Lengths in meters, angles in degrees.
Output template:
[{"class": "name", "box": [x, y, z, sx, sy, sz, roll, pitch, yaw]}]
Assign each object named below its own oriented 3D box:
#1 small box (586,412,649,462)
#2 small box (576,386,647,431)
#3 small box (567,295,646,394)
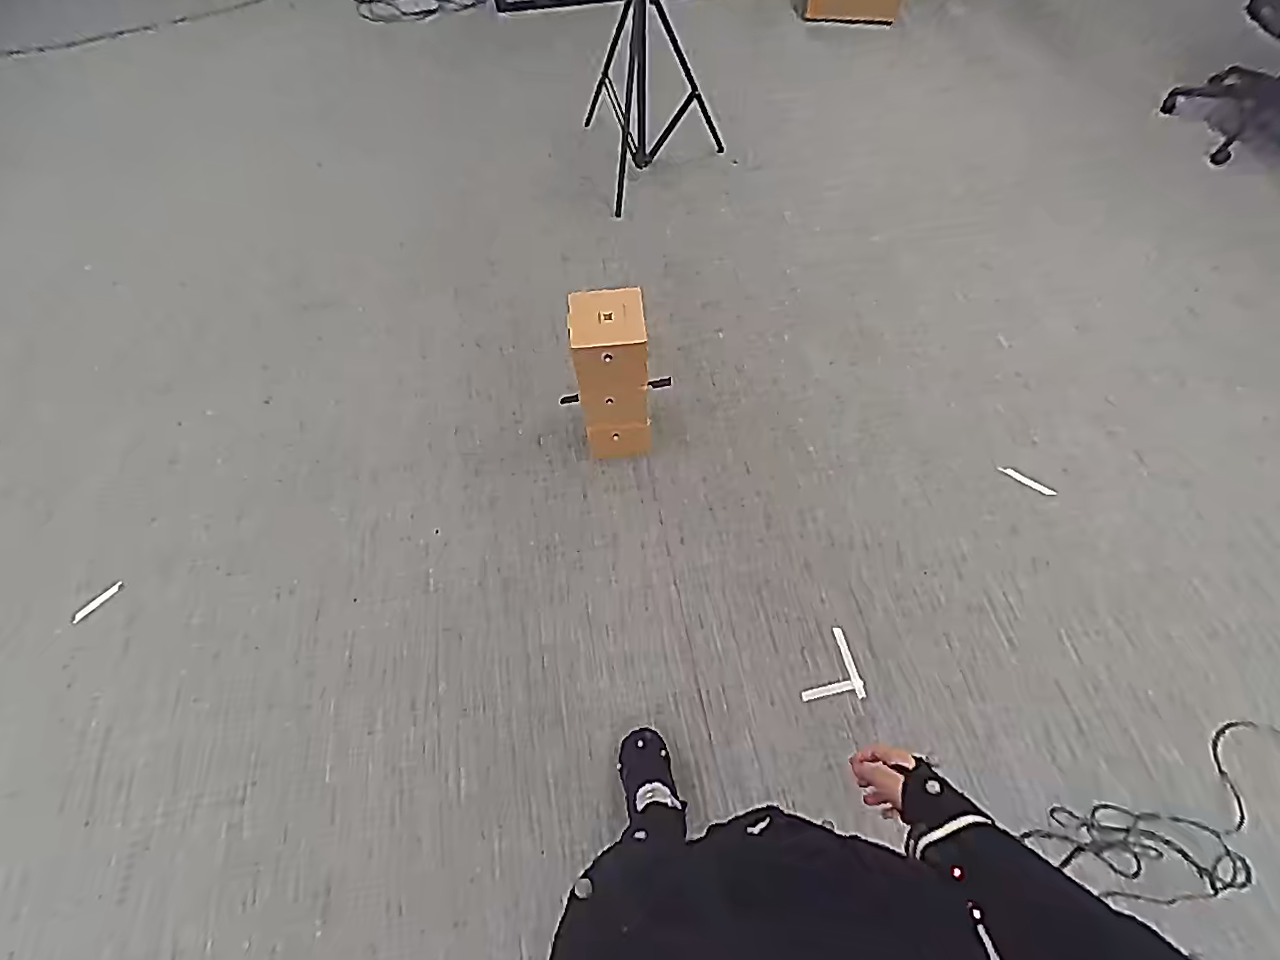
[{"class": "small box", "box": [-0.069, -0.165, 1.601, 0.179, 0.176, 0.168, -5, 64, -2]}, {"class": "small box", "box": [-0.074, -0.244, 1.457, 0.179, 0.176, 0.168, -3, 64, 0]}, {"class": "small box", "box": [-0.078, -0.322, 1.315, 0.179, 0.176, 0.168, -5, 65, -2]}]
